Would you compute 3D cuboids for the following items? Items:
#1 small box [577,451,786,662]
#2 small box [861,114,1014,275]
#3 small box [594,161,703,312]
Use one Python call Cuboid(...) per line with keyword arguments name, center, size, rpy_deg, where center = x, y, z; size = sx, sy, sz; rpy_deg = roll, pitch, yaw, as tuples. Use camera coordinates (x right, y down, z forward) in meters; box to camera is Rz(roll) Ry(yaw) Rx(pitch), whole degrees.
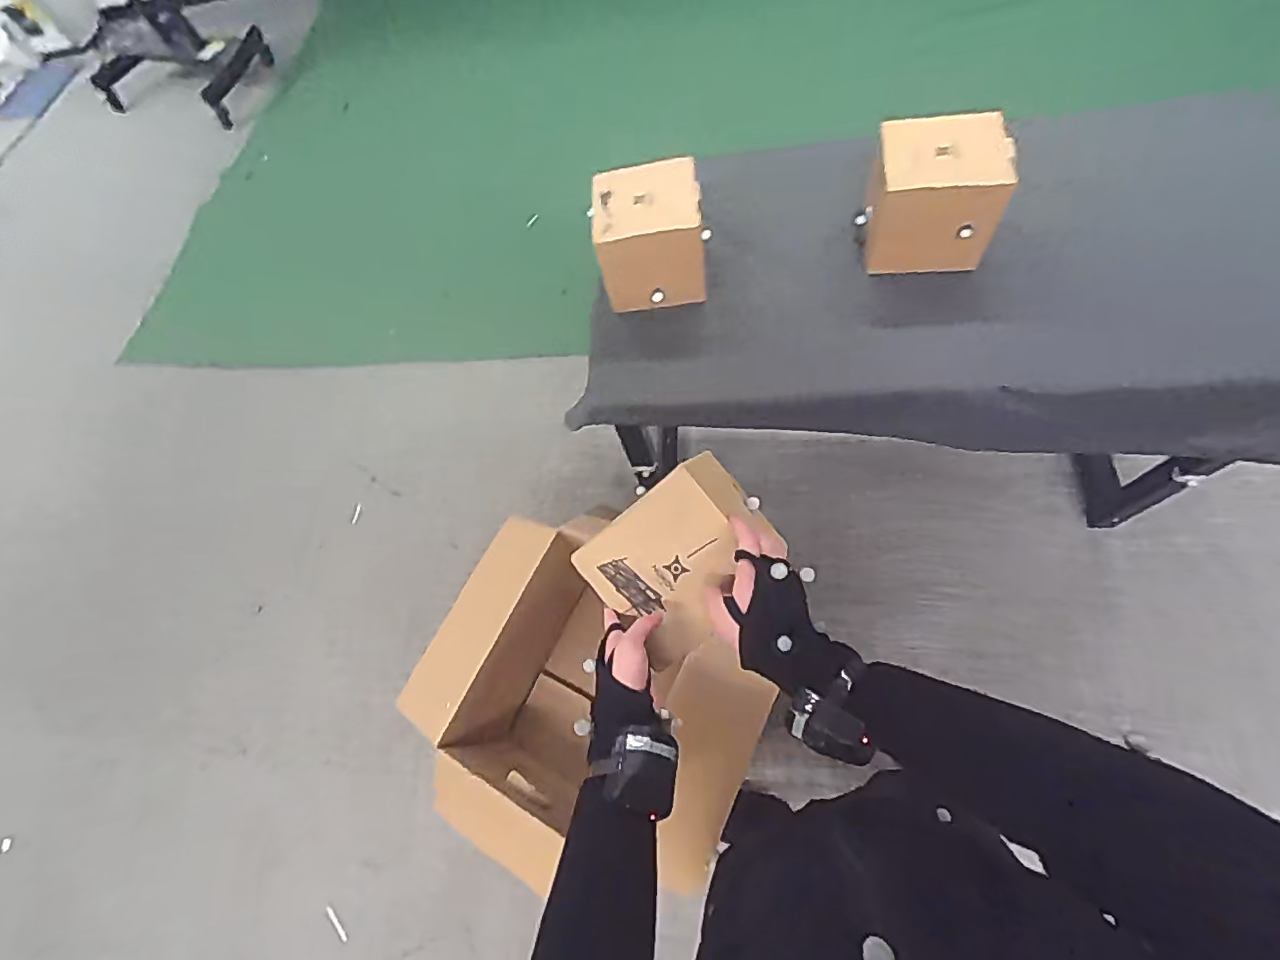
Cuboid(name="small box", center=(0.062, 0.081, 0.659), size=(0.179, 0.176, 0.168), rpy_deg=(-40, 85, 18))
Cuboid(name="small box", center=(0.477, -0.462, 0.896), size=(0.179, 0.176, 0.168), rpy_deg=(2, 65, 13))
Cuboid(name="small box", center=(0.021, -0.424, 0.961), size=(0.179, 0.176, 0.168), rpy_deg=(-5, 65, 7))
